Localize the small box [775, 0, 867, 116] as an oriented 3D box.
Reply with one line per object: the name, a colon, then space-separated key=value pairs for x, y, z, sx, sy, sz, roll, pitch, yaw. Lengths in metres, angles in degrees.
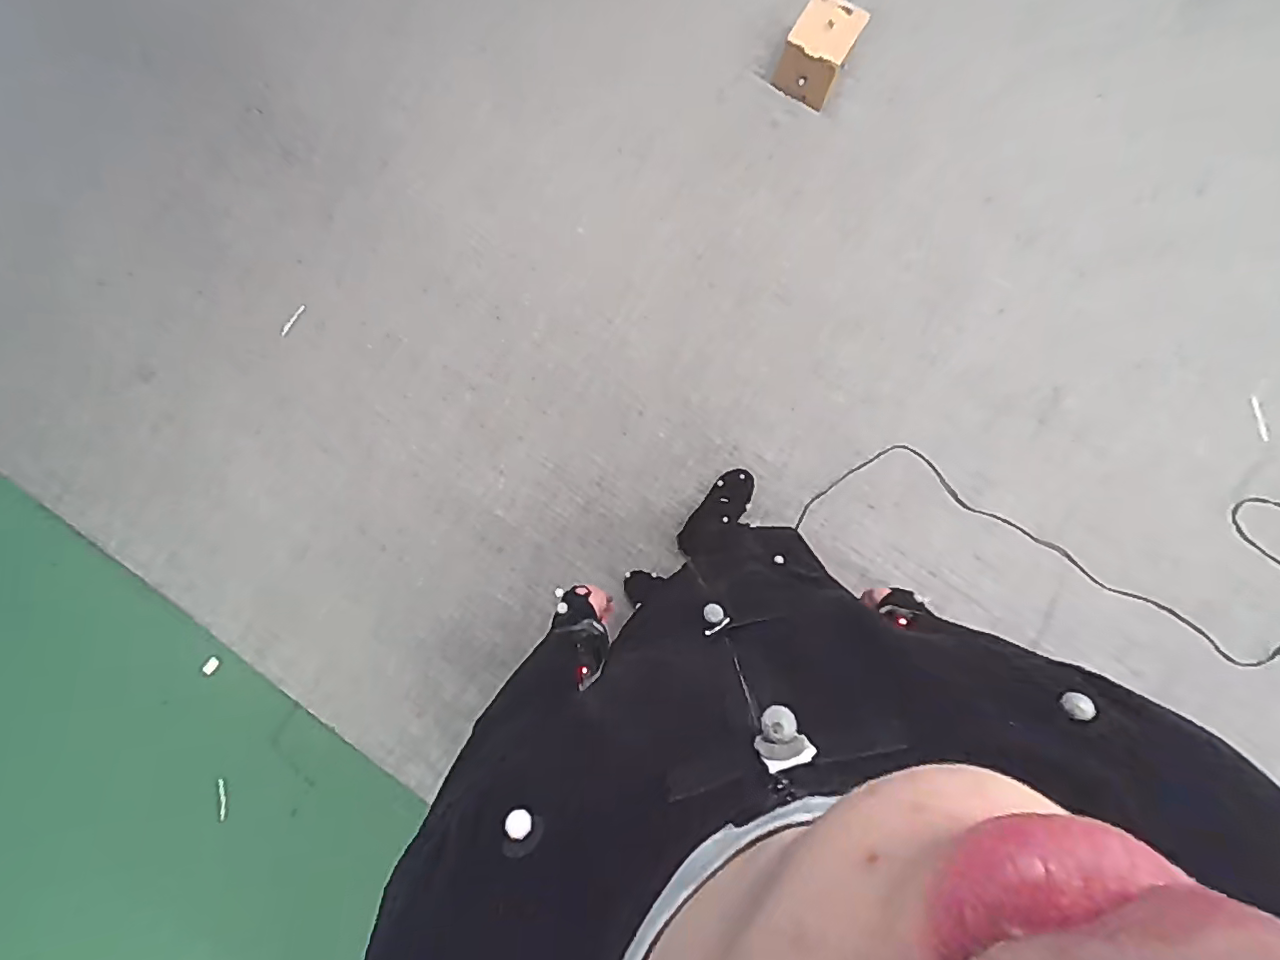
small box: x=0.505 y=-1.197 z=1.544 sx=0.168 sy=0.176 sz=0.179 roll=33 pitch=88 yaw=3
